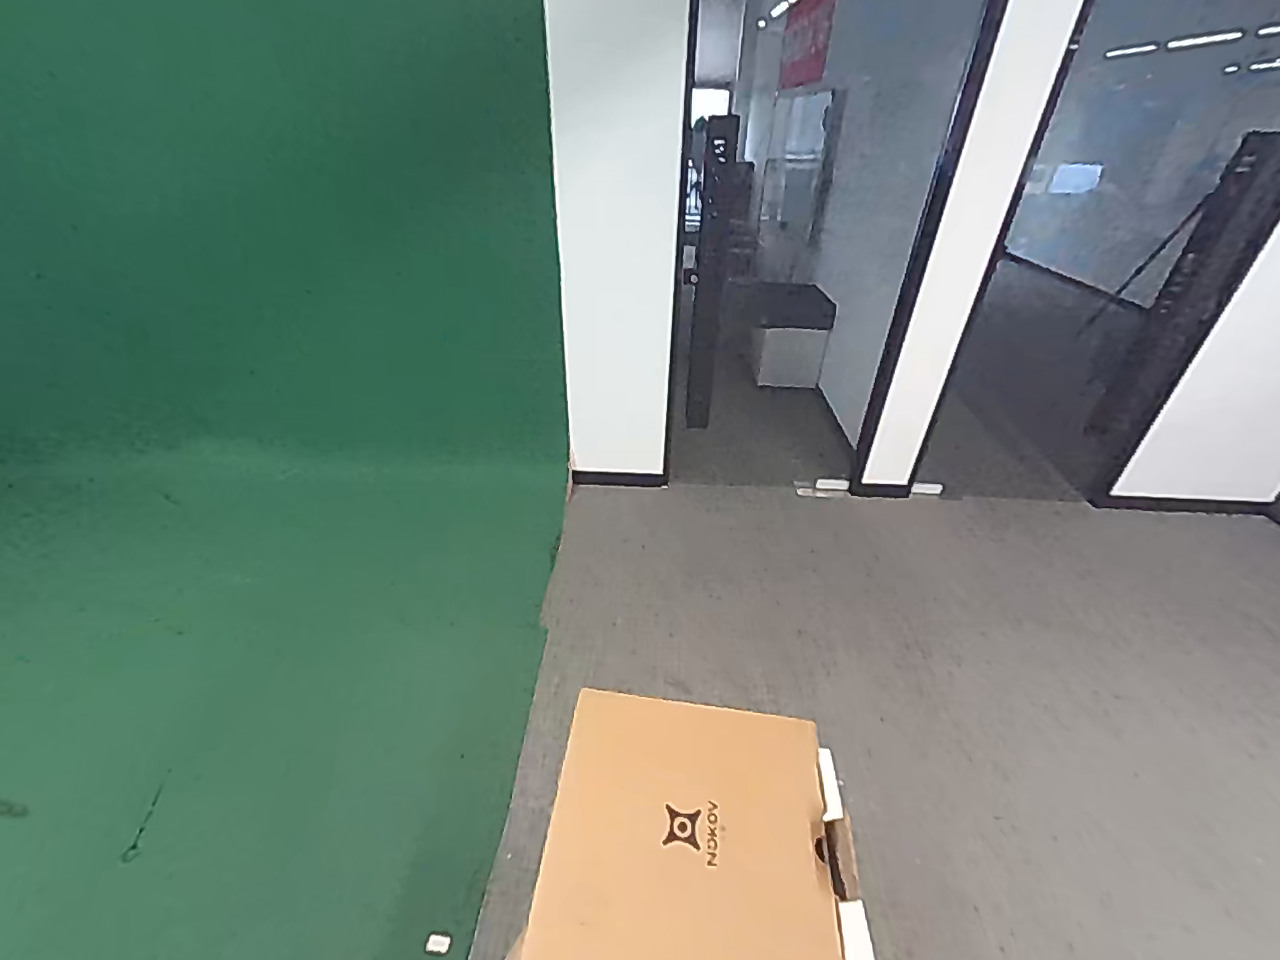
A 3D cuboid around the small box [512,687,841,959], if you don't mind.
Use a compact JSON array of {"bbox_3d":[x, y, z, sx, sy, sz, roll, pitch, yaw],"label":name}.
[{"bbox_3d":[0.025,0.276,0.385,0.179,0.176,0.168,7,40,3],"label":"small box"}]
